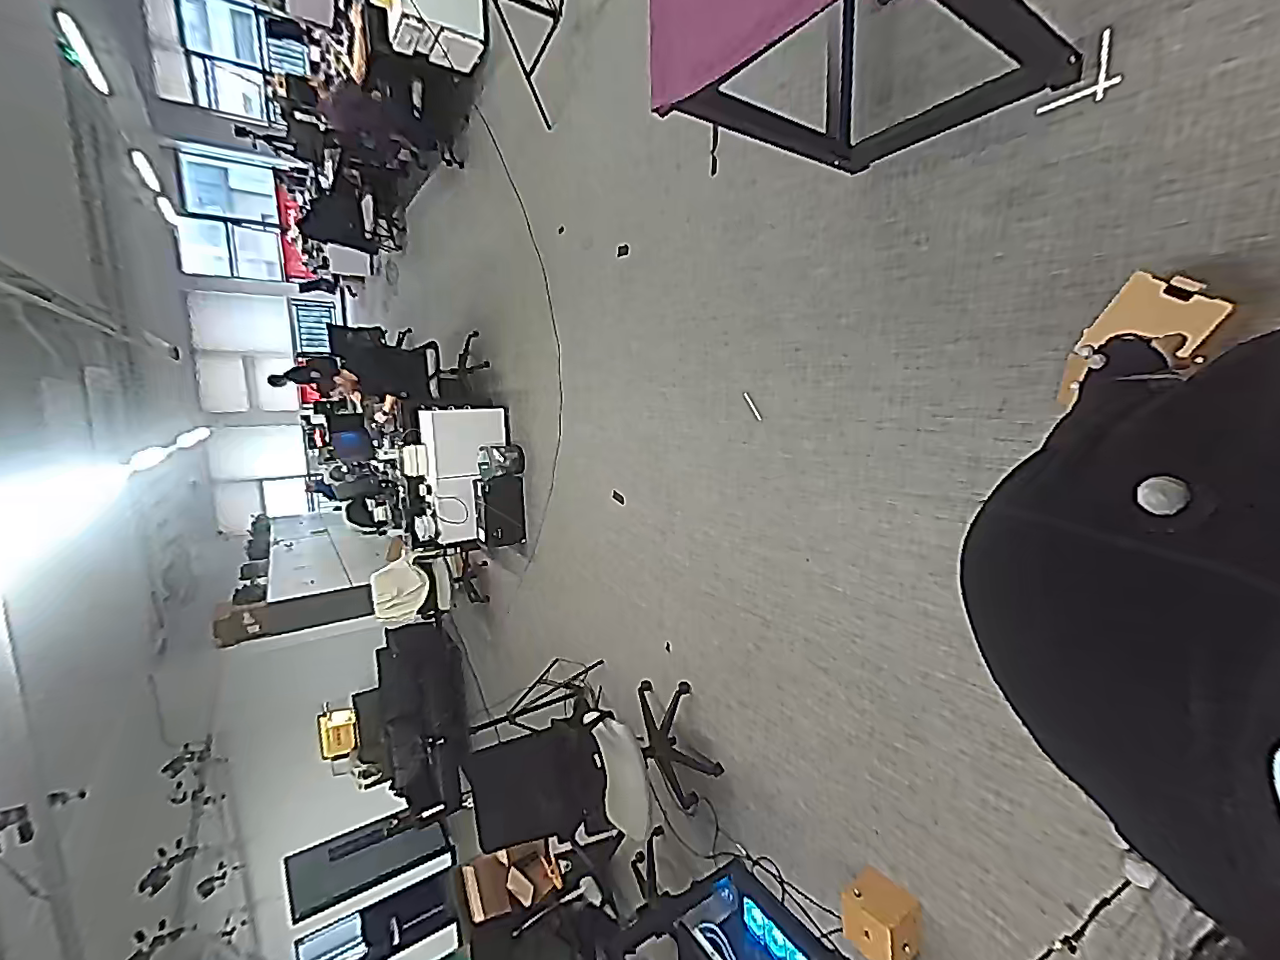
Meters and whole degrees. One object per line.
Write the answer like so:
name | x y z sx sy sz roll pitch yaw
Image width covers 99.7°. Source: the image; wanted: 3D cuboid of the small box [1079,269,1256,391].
small box | 1.036 -0.289 1.062 0.168 0.176 0.179 52 135 39
